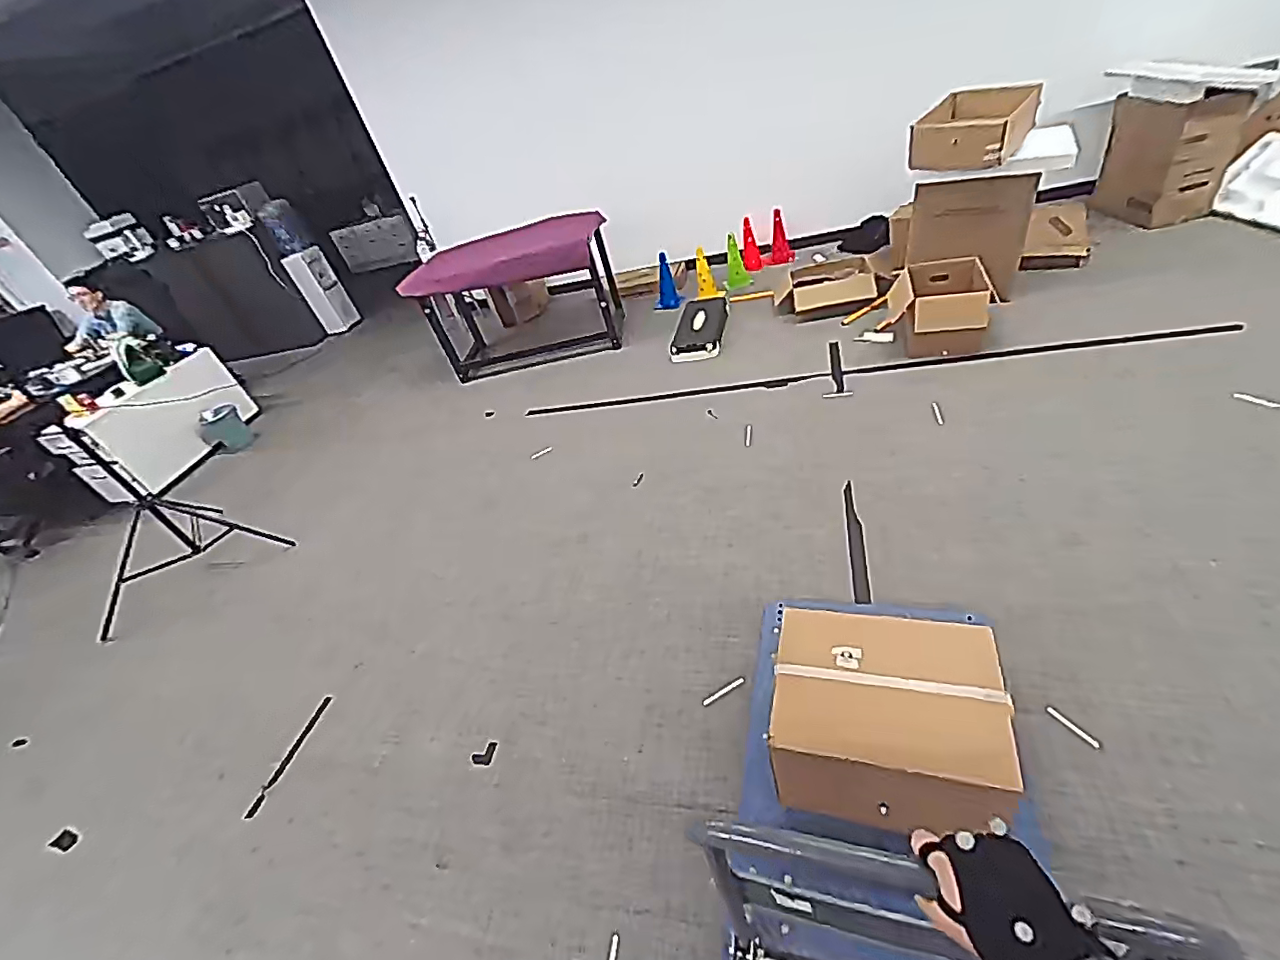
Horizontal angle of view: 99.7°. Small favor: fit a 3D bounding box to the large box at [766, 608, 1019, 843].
[{"bbox_3d":[0.497,0.494,1.121,0.408,0.320,0.320,-1,40,23],"label":"large box"}]
